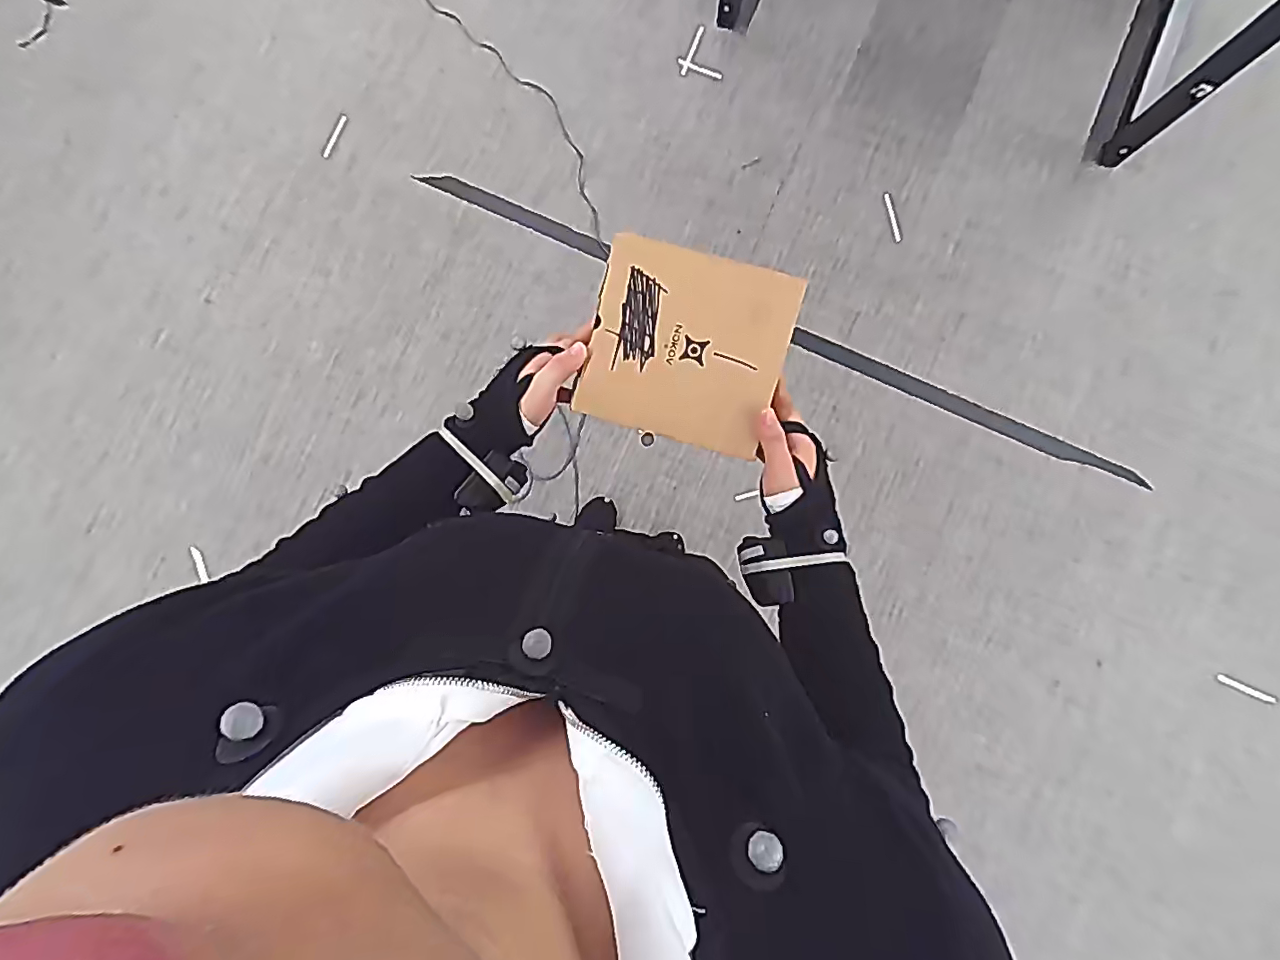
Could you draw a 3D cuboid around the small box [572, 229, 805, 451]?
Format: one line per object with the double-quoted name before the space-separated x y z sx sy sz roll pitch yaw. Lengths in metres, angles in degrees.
"small box" 0.047 -0.131 0.566 0.179 0.176 0.168 16 96 2
